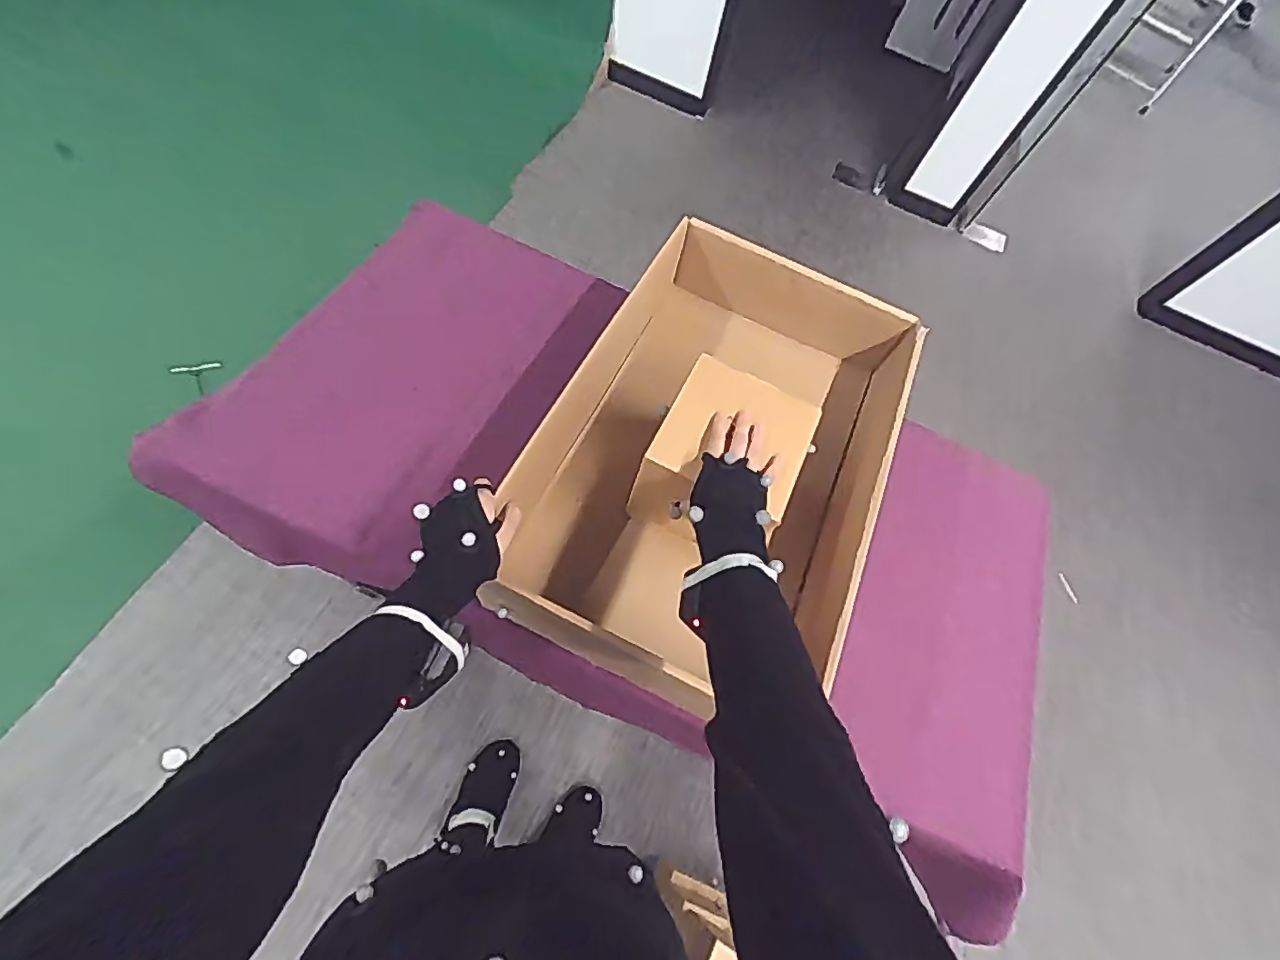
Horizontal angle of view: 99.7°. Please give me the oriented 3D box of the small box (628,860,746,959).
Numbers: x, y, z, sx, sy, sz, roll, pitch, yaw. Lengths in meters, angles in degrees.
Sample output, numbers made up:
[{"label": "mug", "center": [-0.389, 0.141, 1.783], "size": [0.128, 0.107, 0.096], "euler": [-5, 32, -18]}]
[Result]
[{"label": "small box", "center": [0.091, 0.922, 1.118], "size": [0.179, 0.176, 0.168], "euler": [24, 63, 3]}]

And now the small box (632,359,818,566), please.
[{"label": "small box", "center": [0.100, -0.014, 0.700], "size": [0.168, 0.176, 0.179], "euler": [27, 61, 4]}]
